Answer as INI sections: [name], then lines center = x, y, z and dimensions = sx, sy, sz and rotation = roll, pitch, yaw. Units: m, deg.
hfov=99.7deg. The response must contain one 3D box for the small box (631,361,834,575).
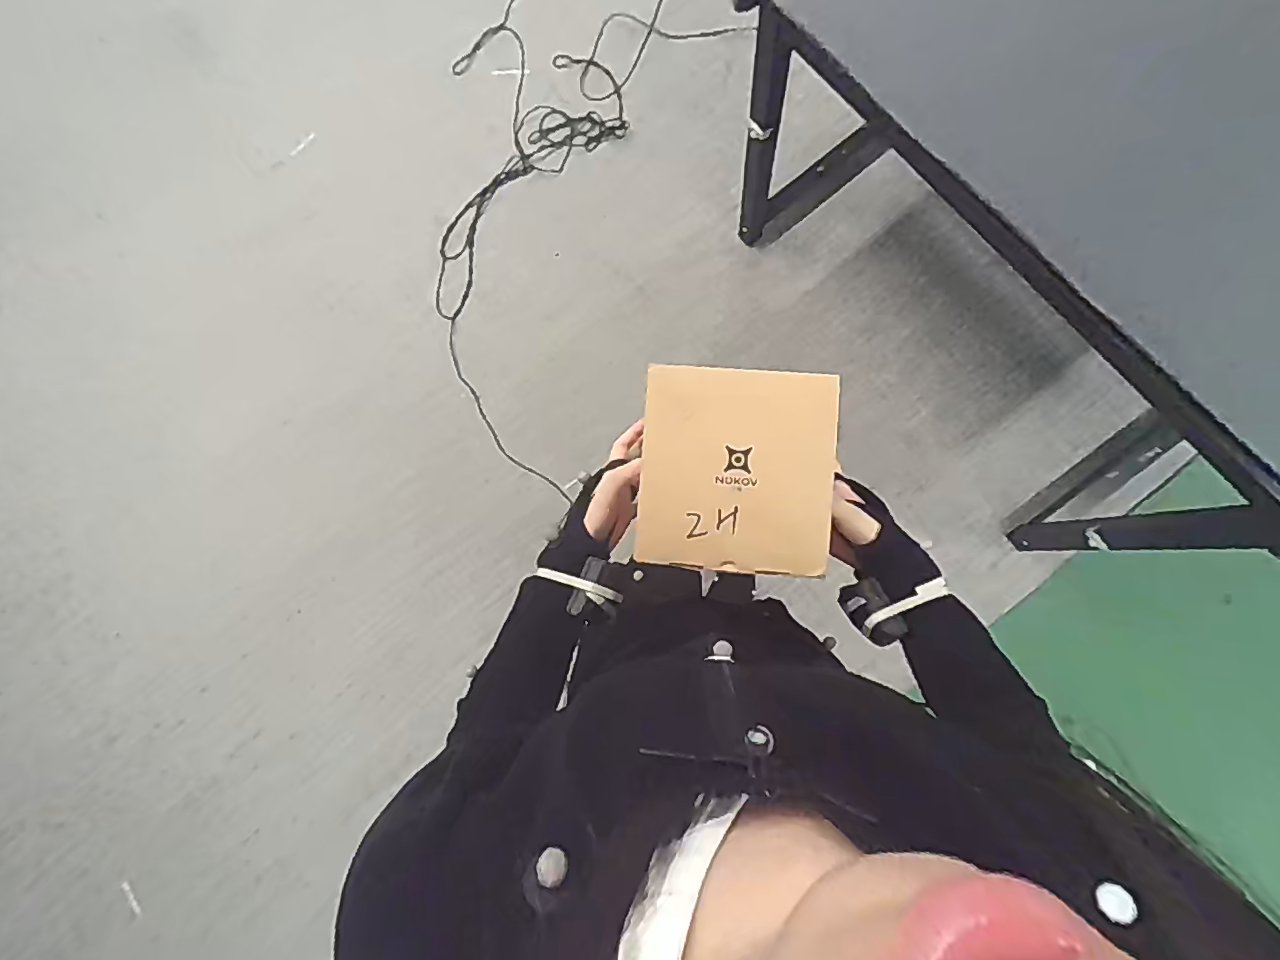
[small box]
center = 0.085, -0.009, 0.546
dimensions = 0.168, 0.176, 0.179
rotation = 4, 89, 4
